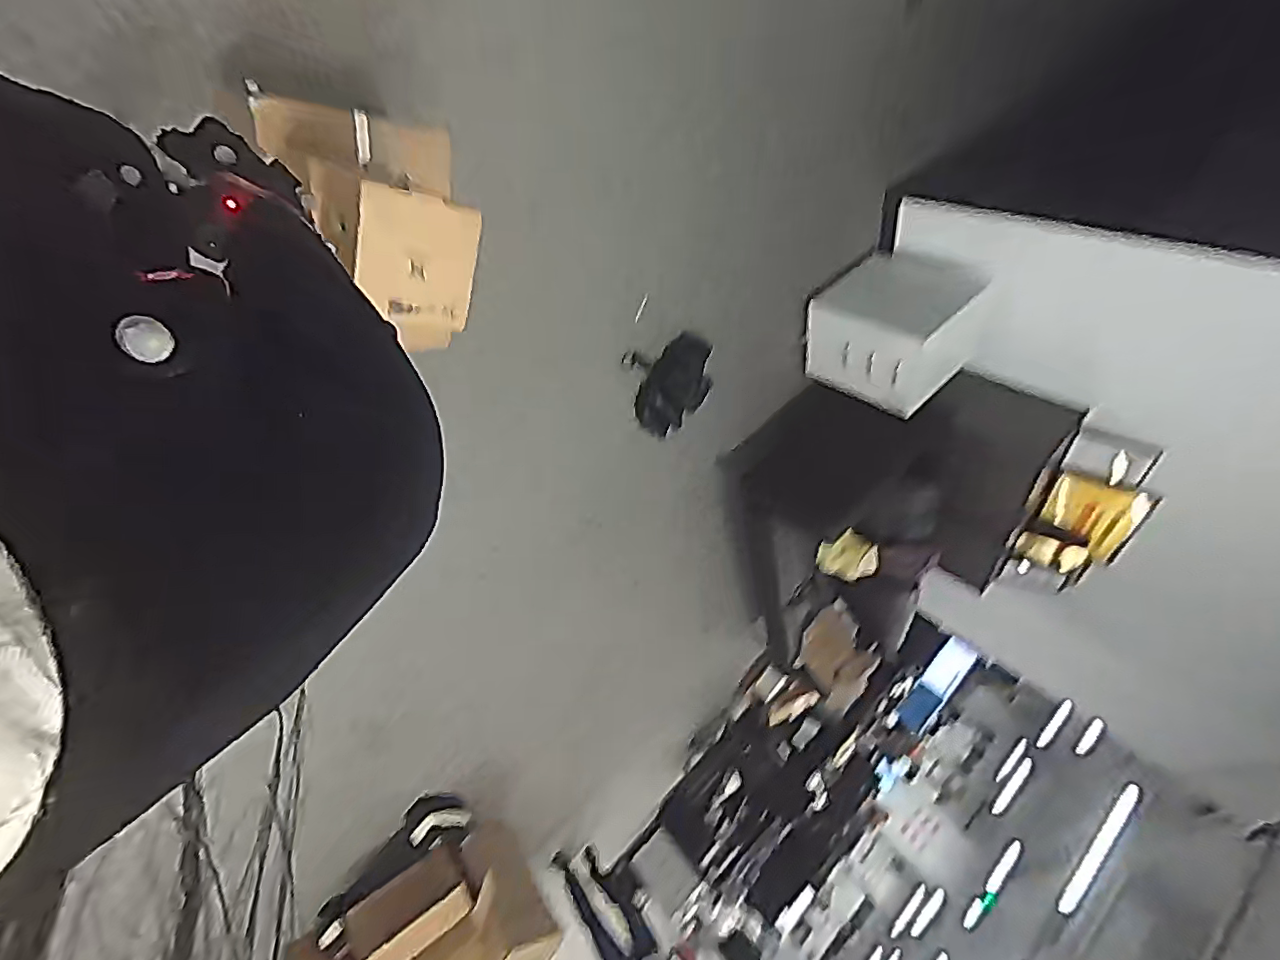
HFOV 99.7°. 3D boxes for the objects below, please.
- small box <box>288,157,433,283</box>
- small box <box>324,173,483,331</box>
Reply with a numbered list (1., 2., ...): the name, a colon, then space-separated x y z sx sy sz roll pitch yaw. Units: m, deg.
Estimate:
1. small box: -0.465 -0.417 0.892 0.179 0.176 0.168 -8 124 -43
2. small box: -0.356 -0.337 0.804 0.168 0.176 0.179 -11 127 -43
